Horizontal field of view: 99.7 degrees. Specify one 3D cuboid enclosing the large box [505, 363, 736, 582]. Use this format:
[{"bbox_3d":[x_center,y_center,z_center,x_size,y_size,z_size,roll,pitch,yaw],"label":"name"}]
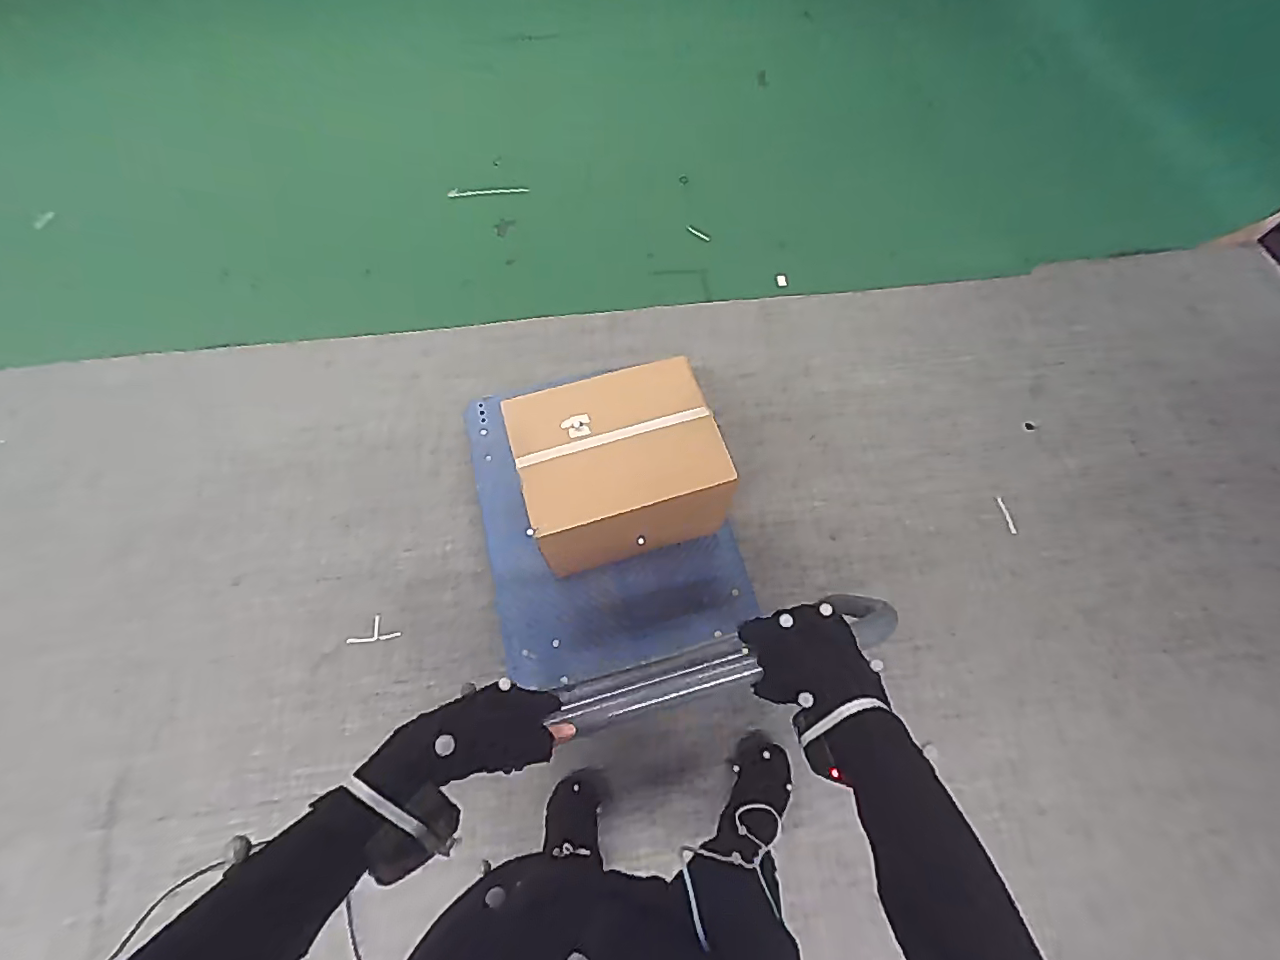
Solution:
[{"bbox_3d":[-0.043,-0.005,1.227,0.408,0.320,0.320,-18,66,-7],"label":"large box"}]
